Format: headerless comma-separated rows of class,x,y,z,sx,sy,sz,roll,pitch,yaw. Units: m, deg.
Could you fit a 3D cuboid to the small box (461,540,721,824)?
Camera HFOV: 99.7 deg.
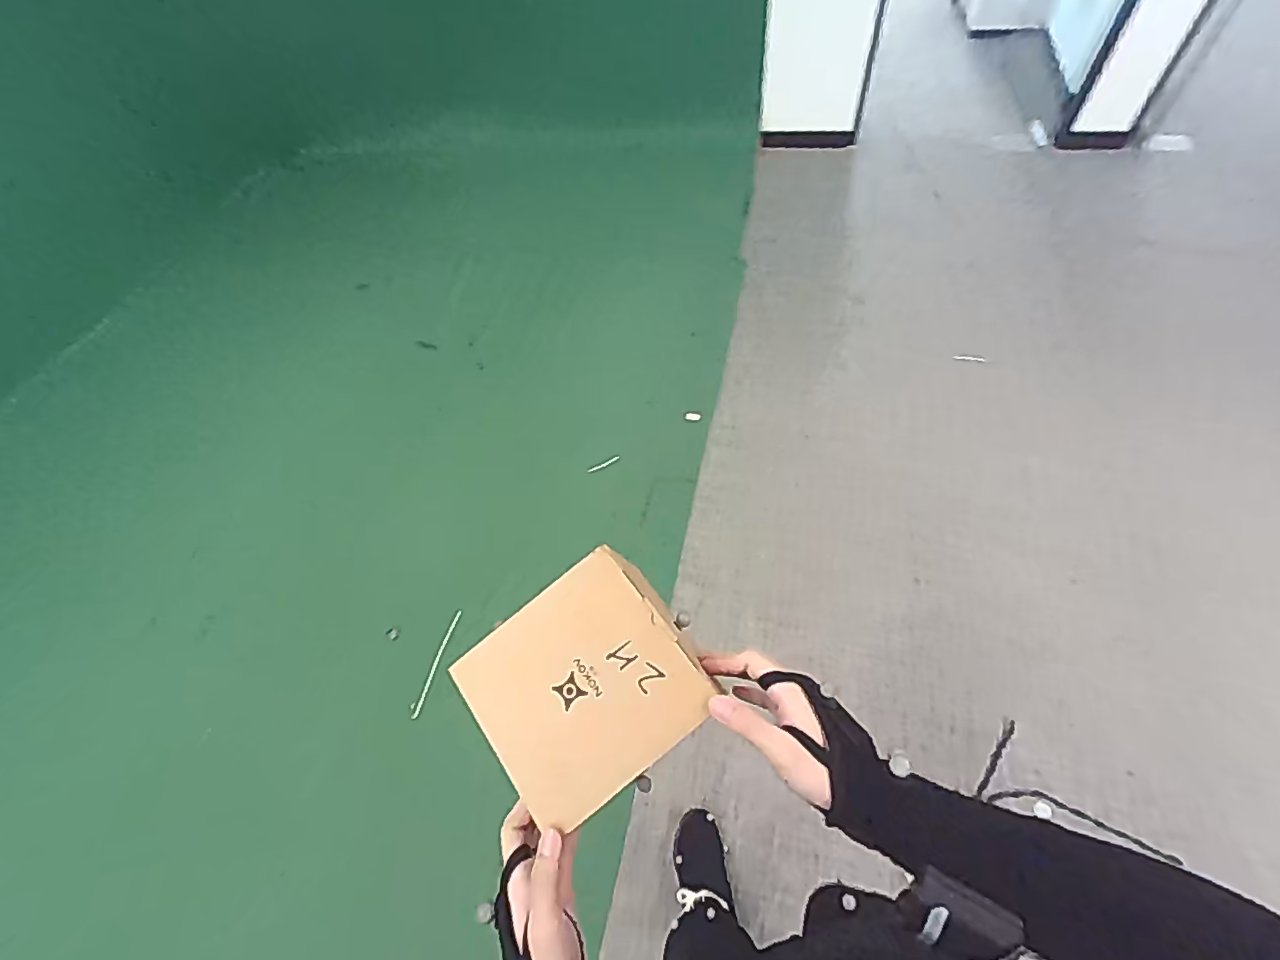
small box,-0.033,0.188,0.532,0.179,0.176,0.168,-37,70,-3
